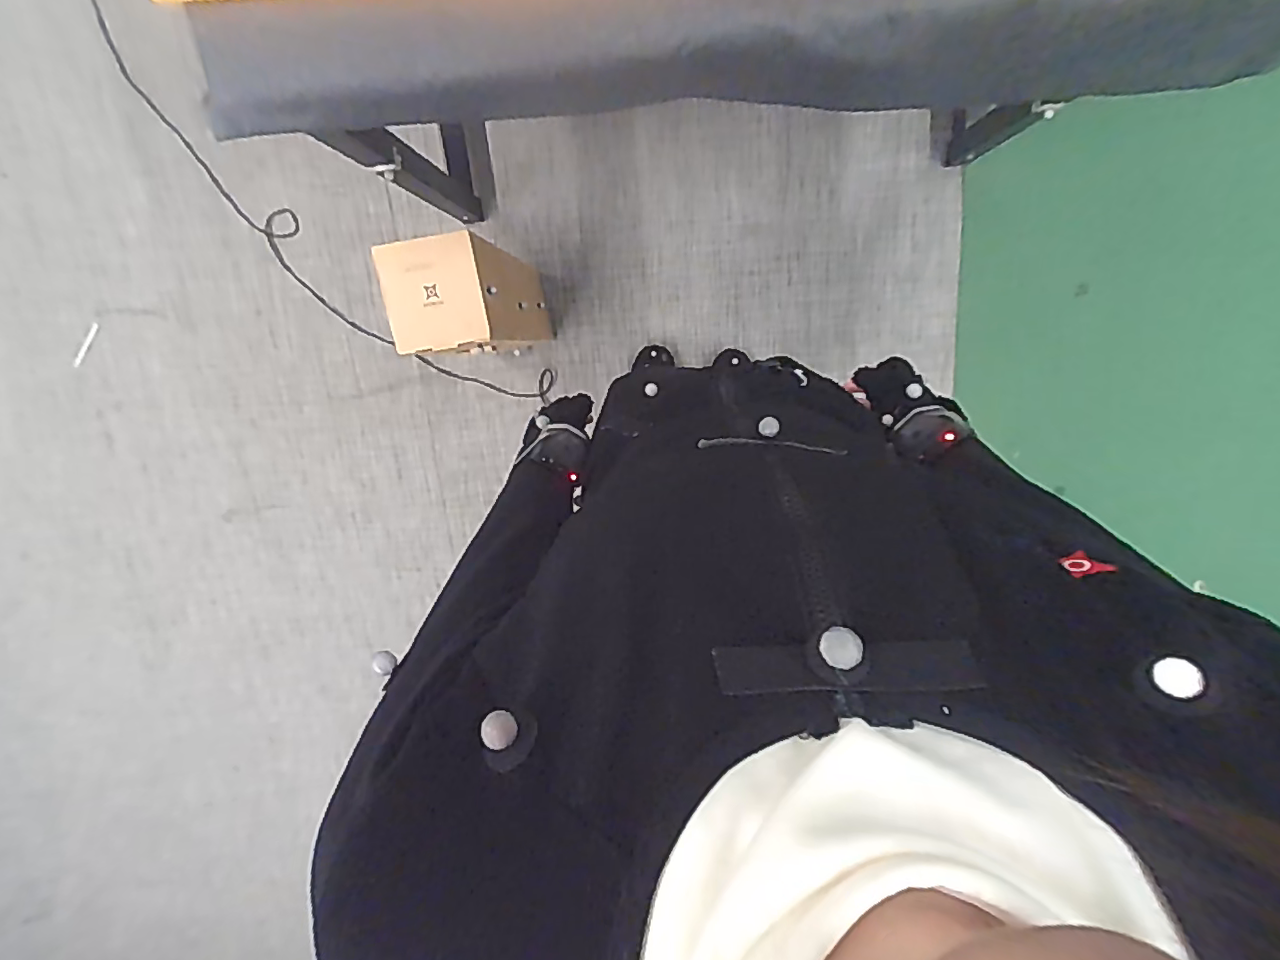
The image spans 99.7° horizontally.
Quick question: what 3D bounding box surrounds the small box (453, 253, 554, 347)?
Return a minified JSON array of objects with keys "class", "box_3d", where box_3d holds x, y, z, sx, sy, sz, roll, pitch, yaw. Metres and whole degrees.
[{"class":"small box","box_3d":[-0.314,-0.416,1.274,0.168,0.176,0.179,-11,104,6]}]
